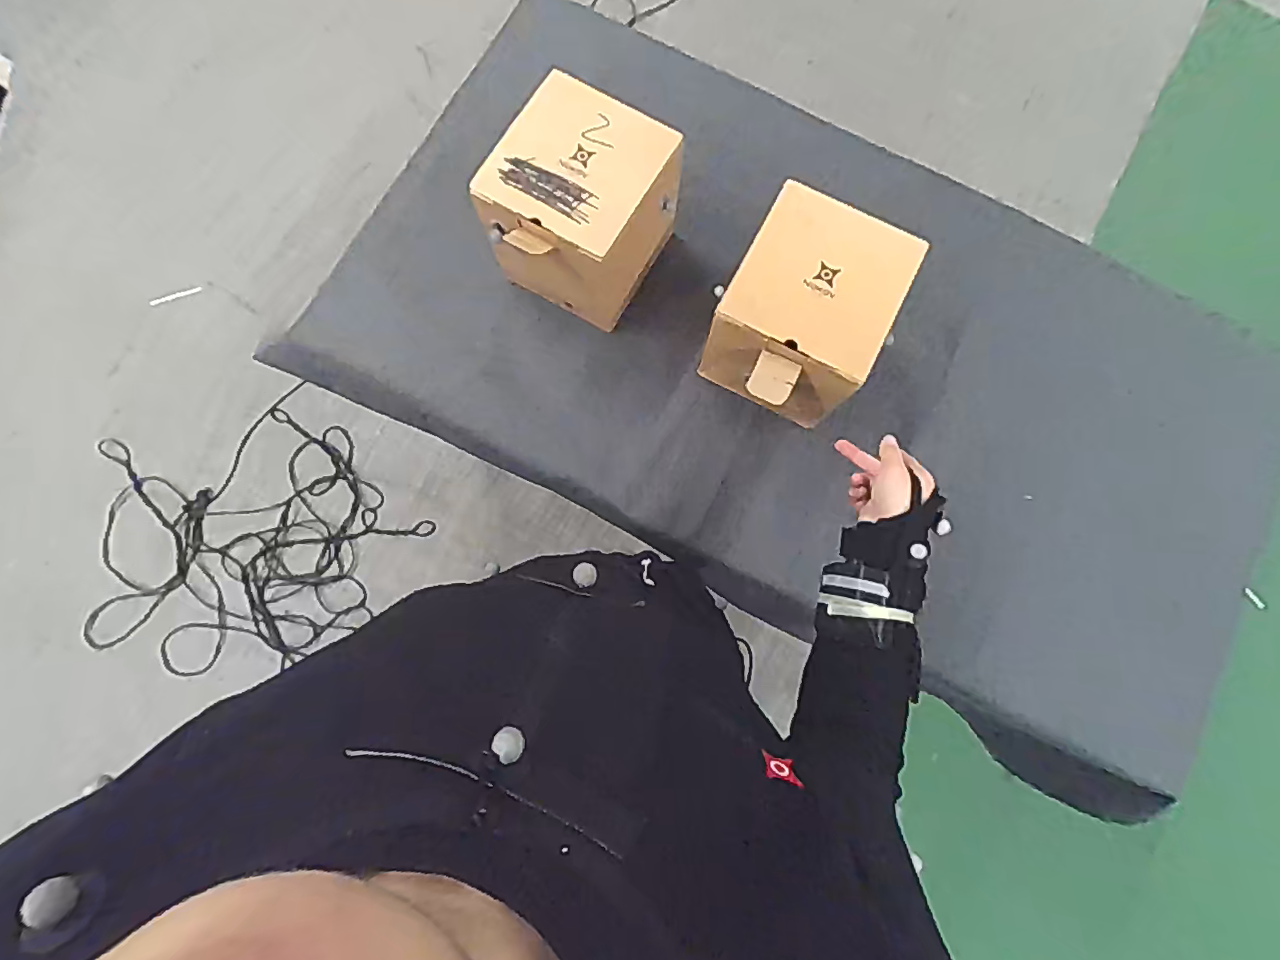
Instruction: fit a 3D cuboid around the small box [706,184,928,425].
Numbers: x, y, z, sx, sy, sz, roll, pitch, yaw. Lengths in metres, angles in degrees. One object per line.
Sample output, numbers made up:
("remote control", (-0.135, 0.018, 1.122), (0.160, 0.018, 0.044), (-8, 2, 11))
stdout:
("small box", (0.190, -0.190, 0.634), (0.168, 0.176, 0.179), (27, 81, 3))
